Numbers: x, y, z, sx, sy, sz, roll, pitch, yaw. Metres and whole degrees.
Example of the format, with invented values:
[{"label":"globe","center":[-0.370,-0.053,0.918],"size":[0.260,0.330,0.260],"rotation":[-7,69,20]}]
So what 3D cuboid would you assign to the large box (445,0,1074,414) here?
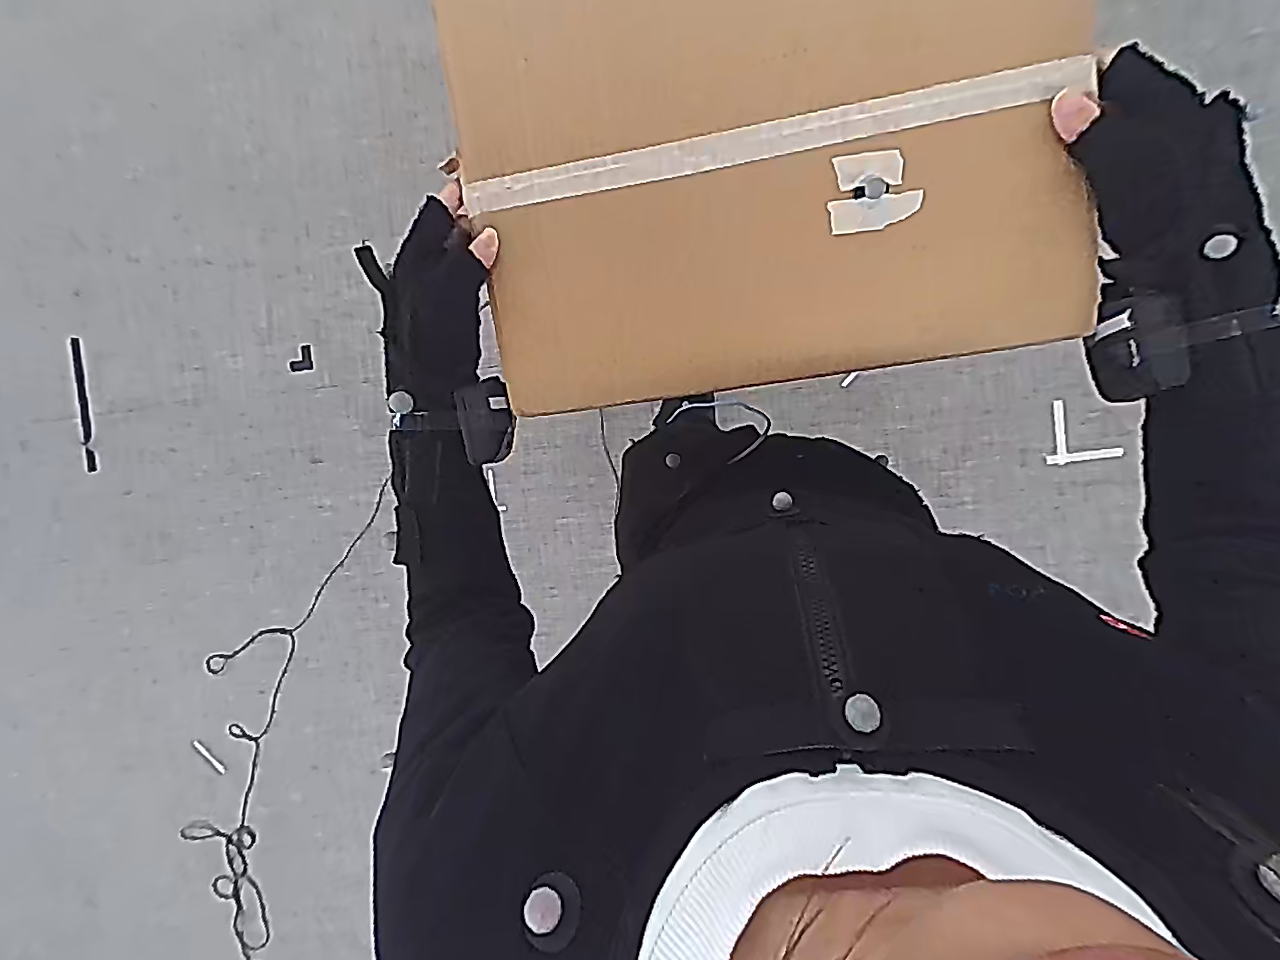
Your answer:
[{"label":"large box","center":[0.094,-0.253,0.519],"size":[0.408,0.320,0.320],"rotation":[-8,100,6]}]
